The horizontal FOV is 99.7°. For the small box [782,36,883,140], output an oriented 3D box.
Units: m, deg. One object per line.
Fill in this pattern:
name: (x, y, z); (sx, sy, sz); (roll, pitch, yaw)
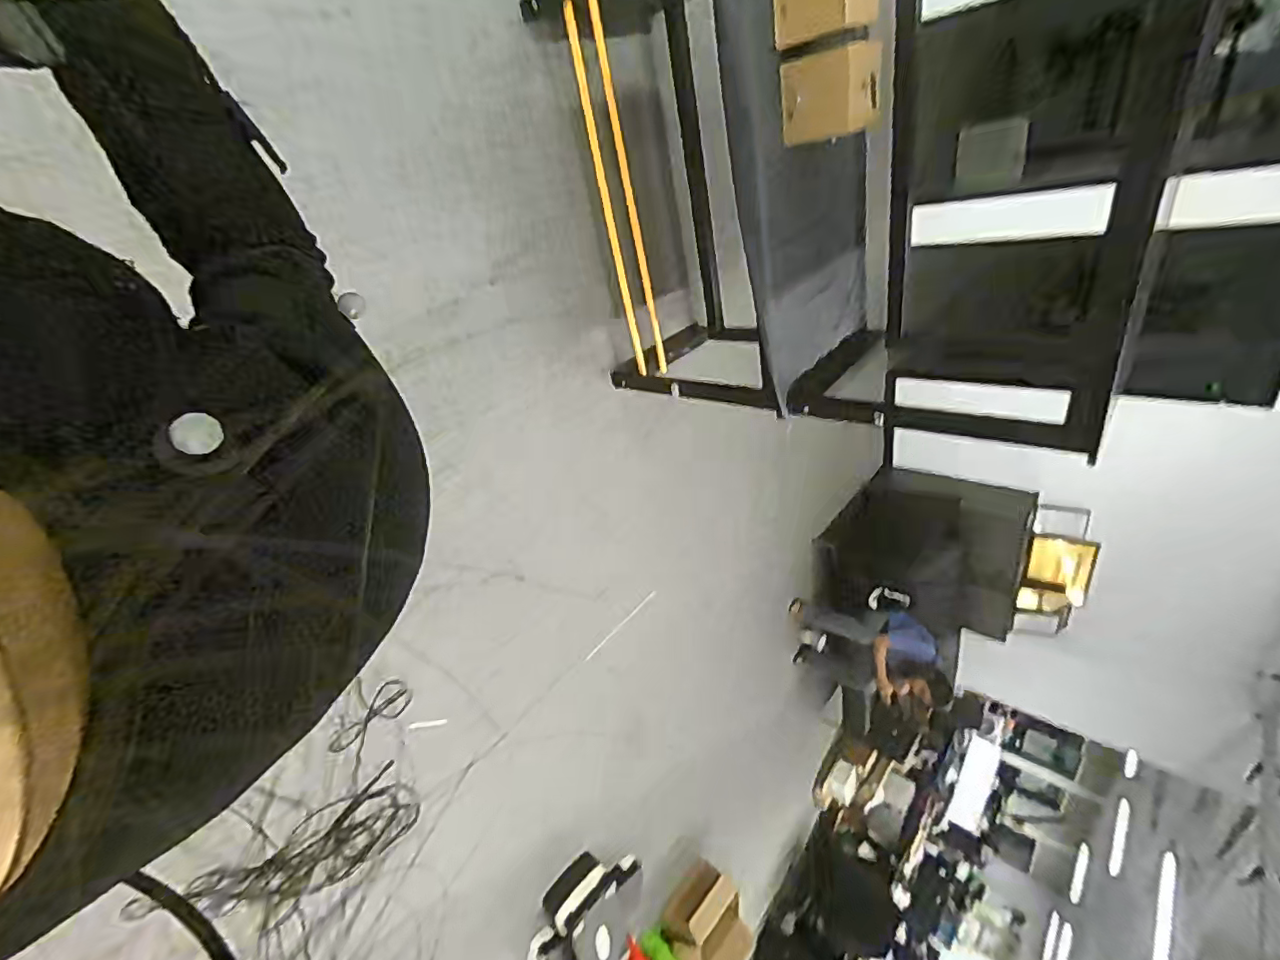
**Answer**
small box: (0.454, -0.922, 1.277); (0.179, 0.176, 0.168); (-38, 128, -34)

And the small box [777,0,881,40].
small box: (0.405, -1.078, 1.168); (0.179, 0.176, 0.168); (-39, 130, -34)
